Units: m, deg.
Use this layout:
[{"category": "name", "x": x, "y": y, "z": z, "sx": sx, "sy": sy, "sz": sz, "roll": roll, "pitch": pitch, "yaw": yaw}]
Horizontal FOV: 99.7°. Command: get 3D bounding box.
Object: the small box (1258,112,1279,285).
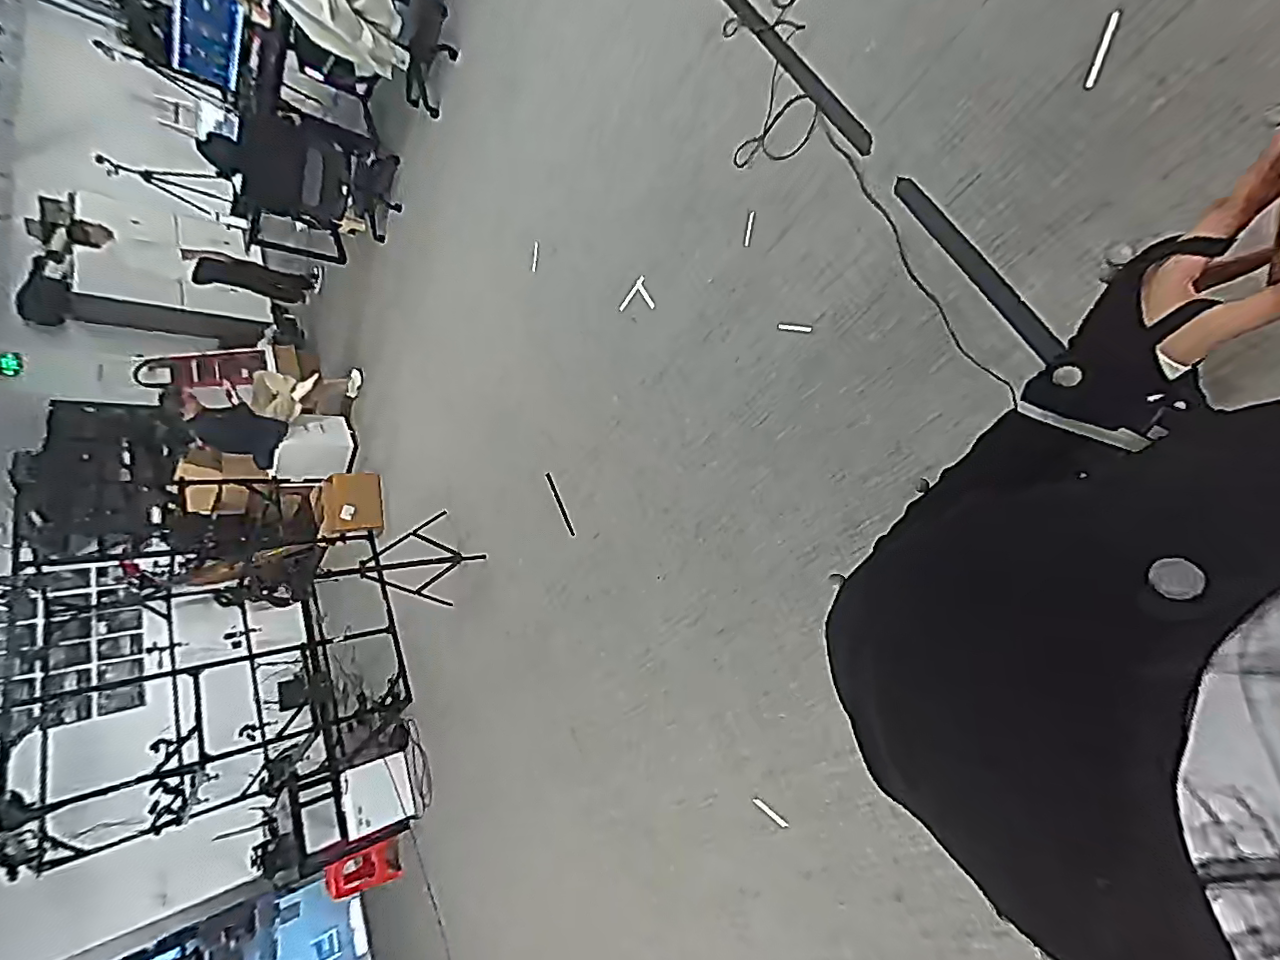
[{"category": "small box", "x": 0.448, "y": -0.206, "z": 0.272, "sx": 0.168, "sy": 0.176, "sz": 0.179, "roll": 9, "pitch": 103, "yaw": 47}]
